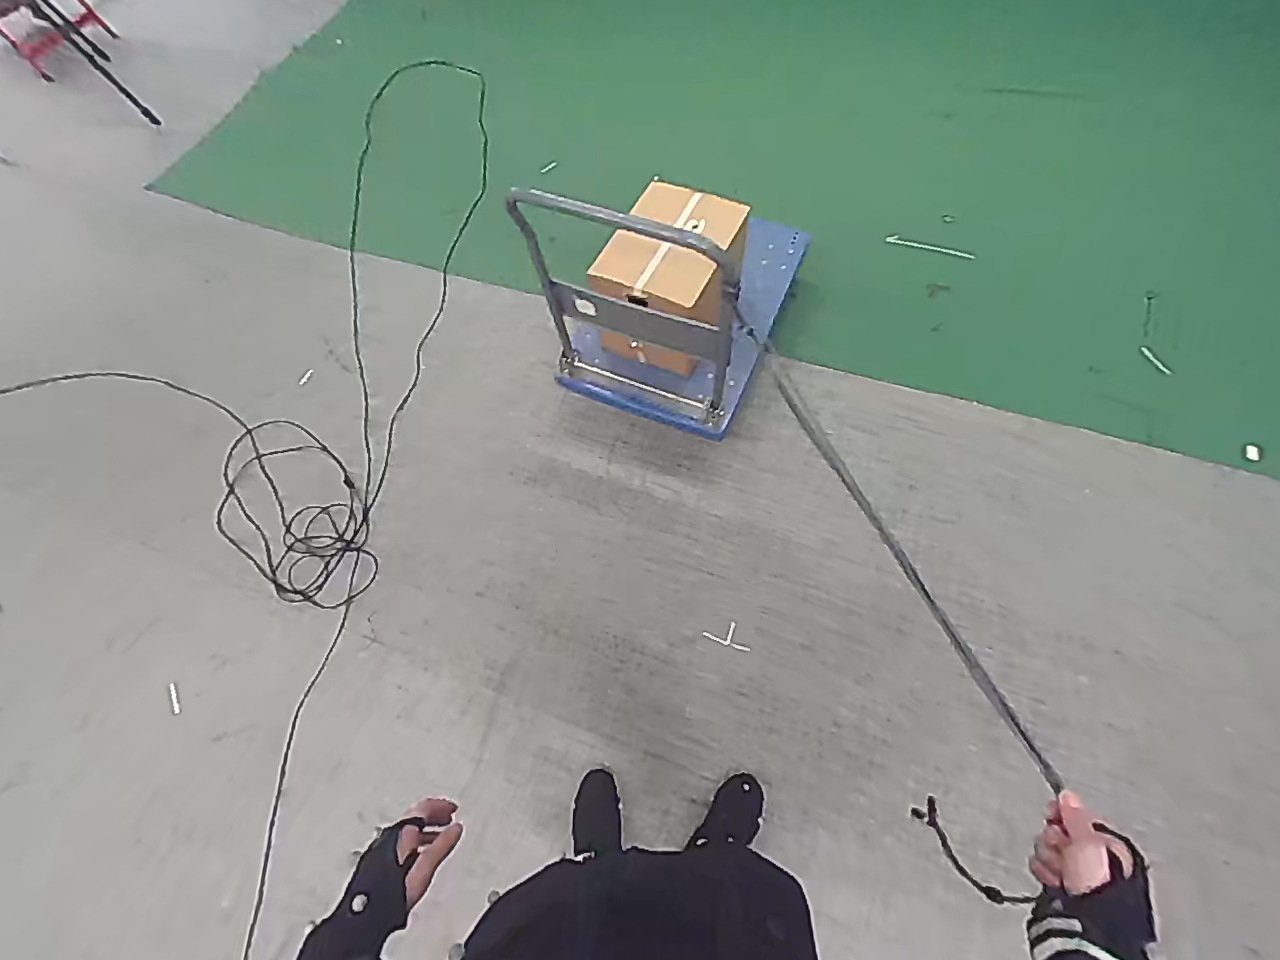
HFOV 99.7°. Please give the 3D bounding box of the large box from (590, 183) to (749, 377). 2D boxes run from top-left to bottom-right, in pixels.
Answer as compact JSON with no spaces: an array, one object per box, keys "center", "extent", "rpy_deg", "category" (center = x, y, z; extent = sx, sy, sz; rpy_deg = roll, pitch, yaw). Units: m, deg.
[{"center":[0.095,-0.586,1.606],"extent":[0.320,0.320,0.408],"rpy_deg":[24,68,14],"category":"large box"}]
